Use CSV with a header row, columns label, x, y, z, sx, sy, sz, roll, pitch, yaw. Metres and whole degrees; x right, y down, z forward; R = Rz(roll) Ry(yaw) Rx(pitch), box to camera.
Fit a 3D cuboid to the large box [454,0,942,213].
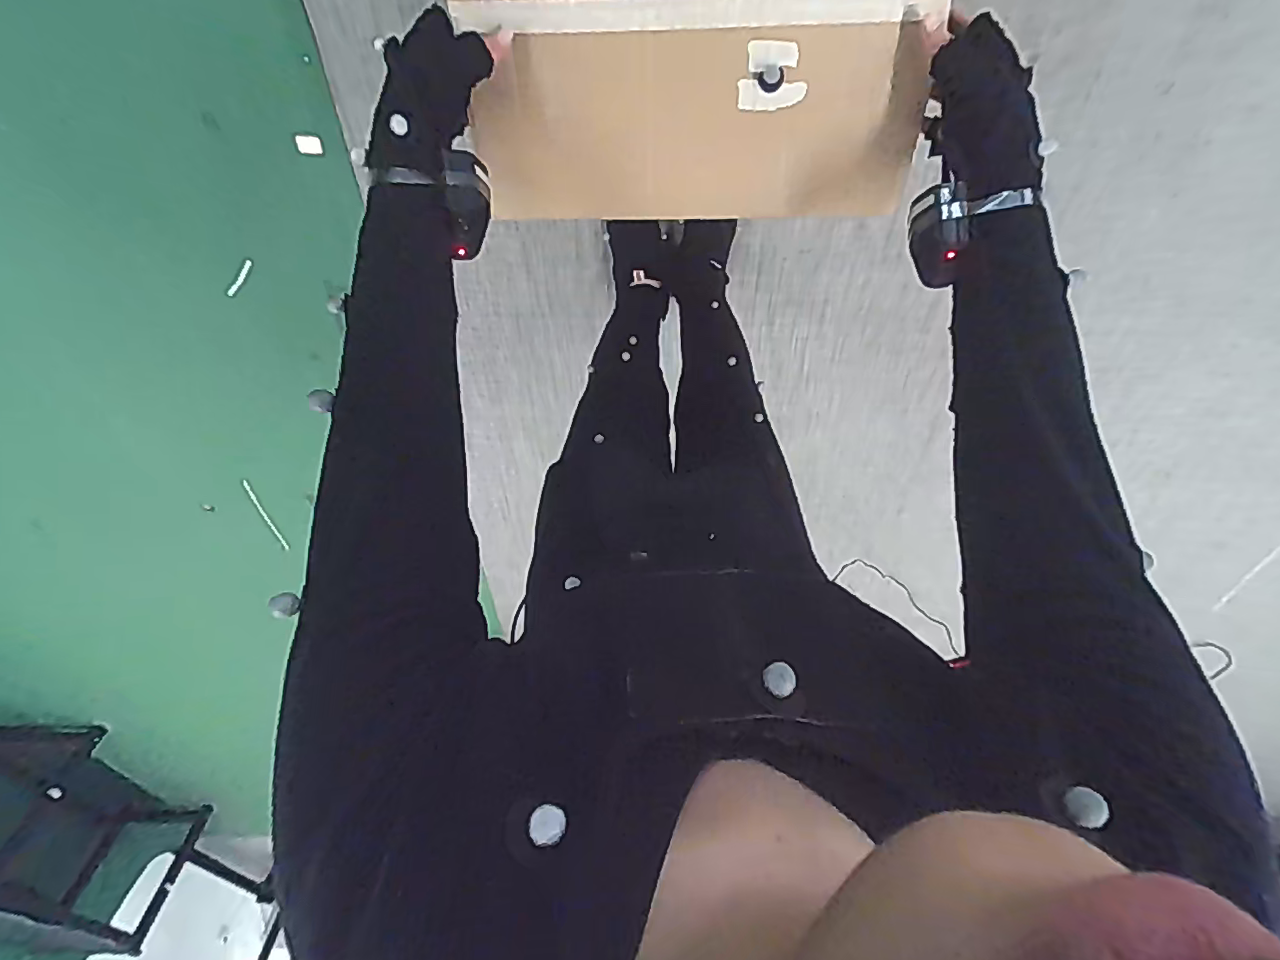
label,x,y,z,sx,sy,sz,roll,pitch,yaw
large box,0.047,-0.475,0.556,0.408,0.320,0.320,1,127,2
